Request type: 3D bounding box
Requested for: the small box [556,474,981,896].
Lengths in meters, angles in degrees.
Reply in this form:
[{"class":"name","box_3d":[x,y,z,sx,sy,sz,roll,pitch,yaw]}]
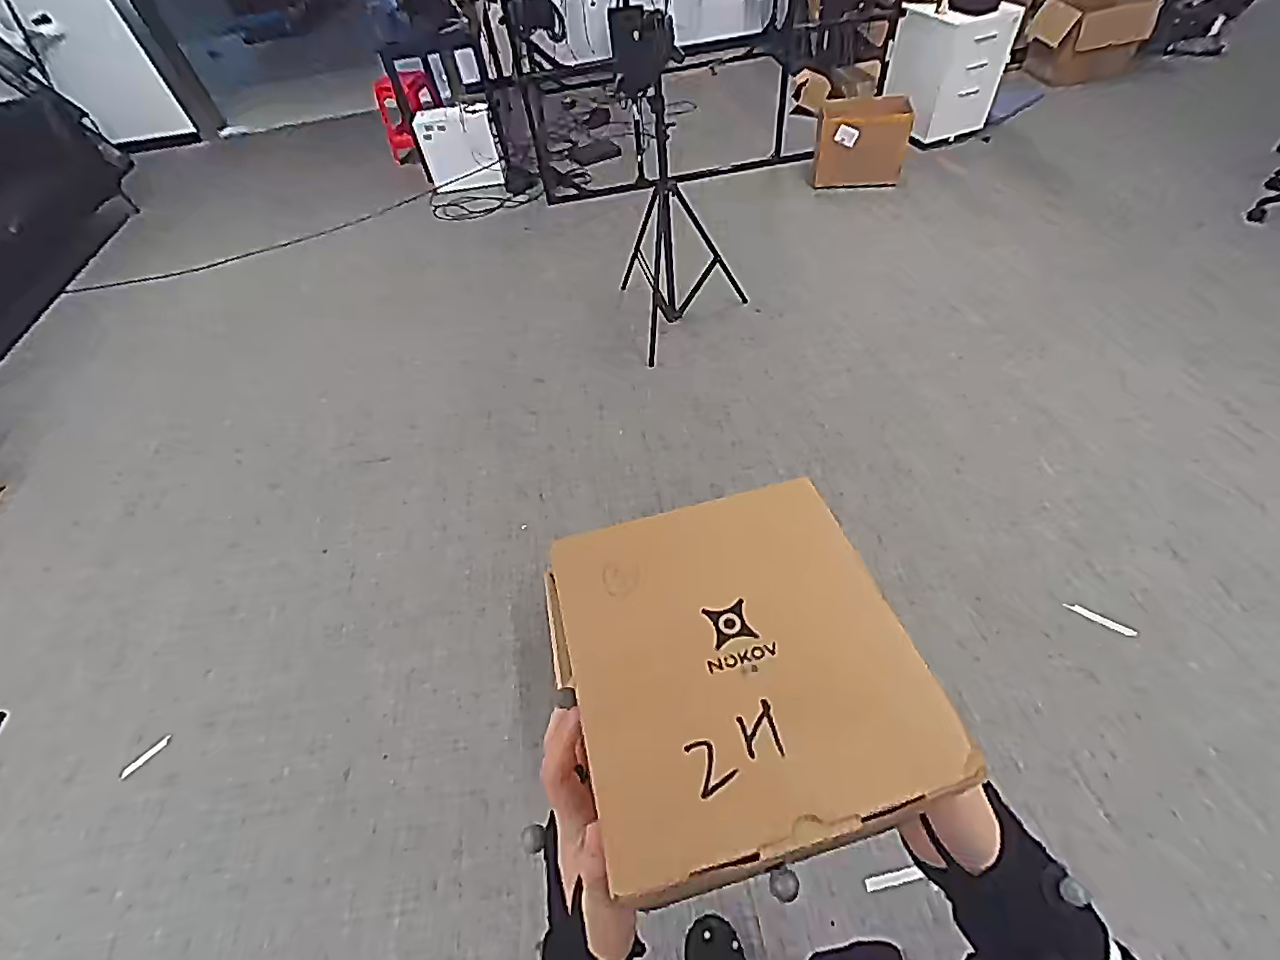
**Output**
[{"class":"small box","box_3d":[0.053,0.128,0.336,0.168,0.176,0.179,-14,51,-6]}]
